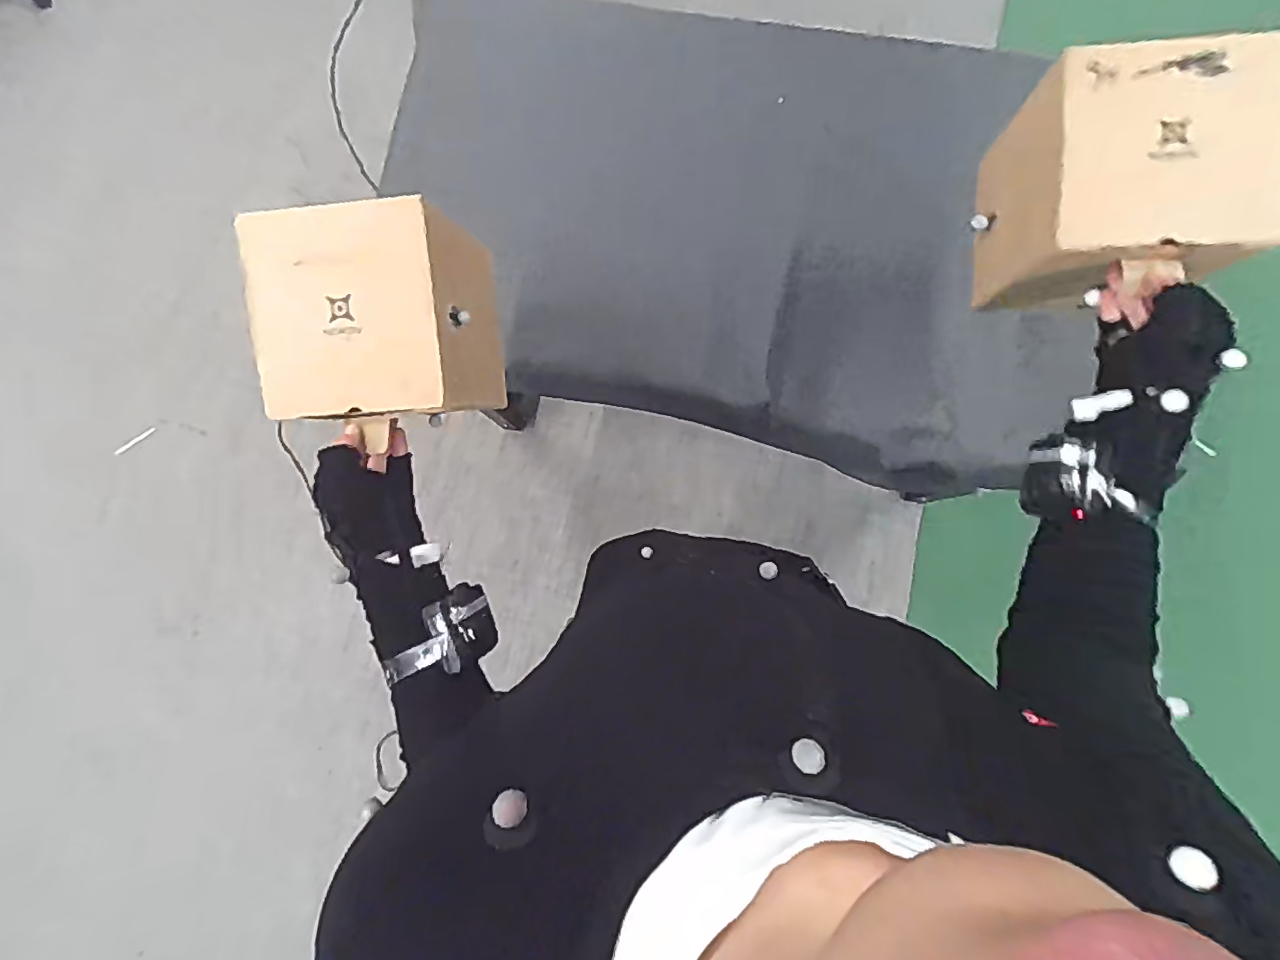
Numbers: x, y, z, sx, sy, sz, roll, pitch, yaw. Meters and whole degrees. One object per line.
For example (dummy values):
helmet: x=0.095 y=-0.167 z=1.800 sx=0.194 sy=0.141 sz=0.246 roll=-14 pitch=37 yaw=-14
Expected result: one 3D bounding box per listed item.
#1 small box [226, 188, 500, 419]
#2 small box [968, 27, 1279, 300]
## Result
small box: x=-0.247 y=-0.157 z=0.529 sx=0.168 sy=0.176 sz=0.179 roll=-4 pitch=99 yaw=4
small box: x=0.446 y=-0.285 z=0.529 sx=0.168 sy=0.176 sz=0.179 roll=3 pitch=91 yaw=9
